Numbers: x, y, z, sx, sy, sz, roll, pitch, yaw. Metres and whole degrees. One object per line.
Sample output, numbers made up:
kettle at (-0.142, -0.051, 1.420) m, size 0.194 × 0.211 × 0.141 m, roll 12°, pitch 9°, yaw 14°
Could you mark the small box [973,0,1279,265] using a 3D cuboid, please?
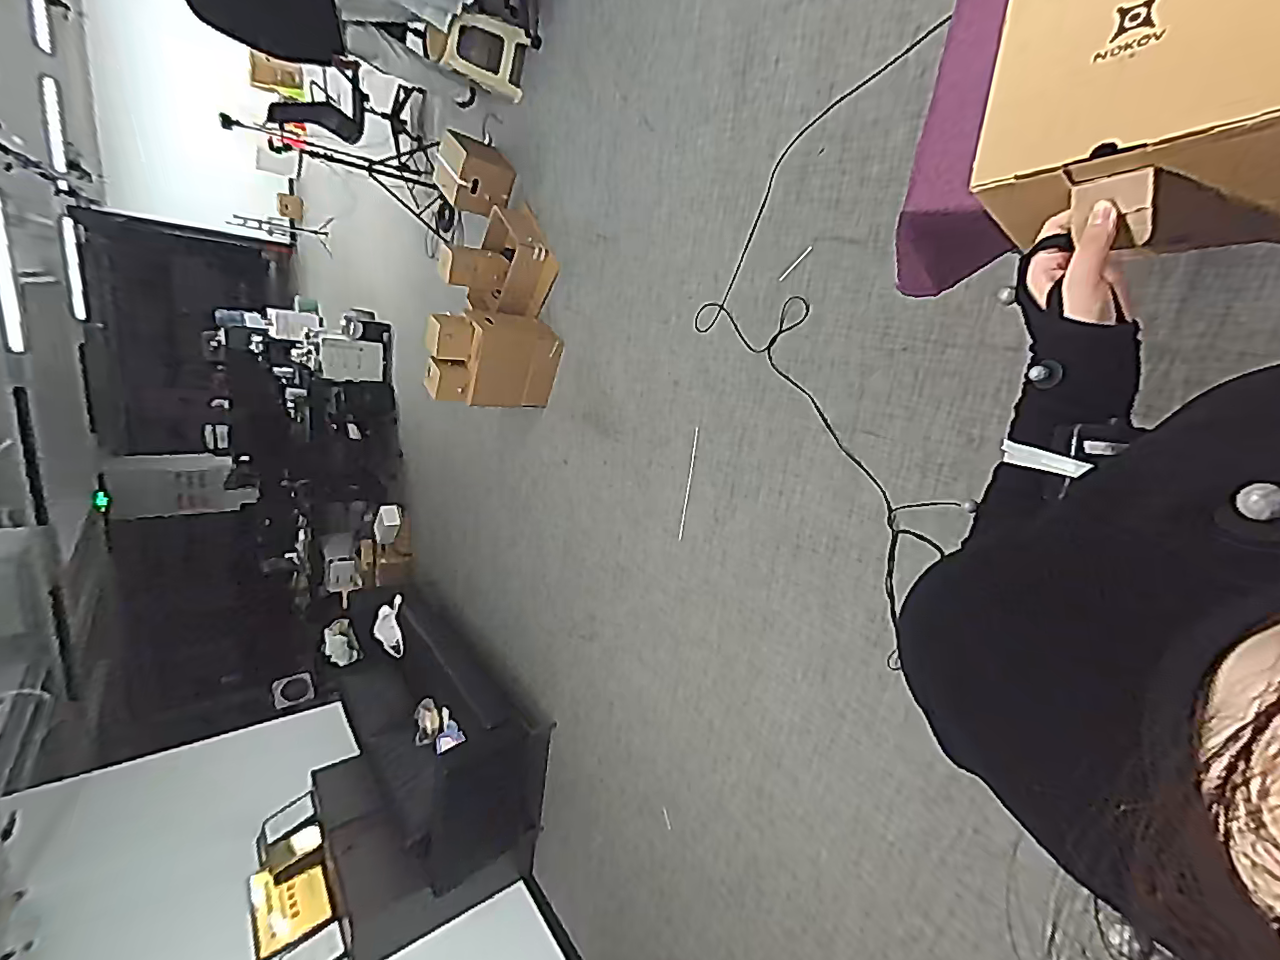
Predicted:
small box at (0.396, -0.294, 0.421) m, size 0.168 × 0.176 × 0.179 m, roll 14°, pitch 94°, yaw 52°
